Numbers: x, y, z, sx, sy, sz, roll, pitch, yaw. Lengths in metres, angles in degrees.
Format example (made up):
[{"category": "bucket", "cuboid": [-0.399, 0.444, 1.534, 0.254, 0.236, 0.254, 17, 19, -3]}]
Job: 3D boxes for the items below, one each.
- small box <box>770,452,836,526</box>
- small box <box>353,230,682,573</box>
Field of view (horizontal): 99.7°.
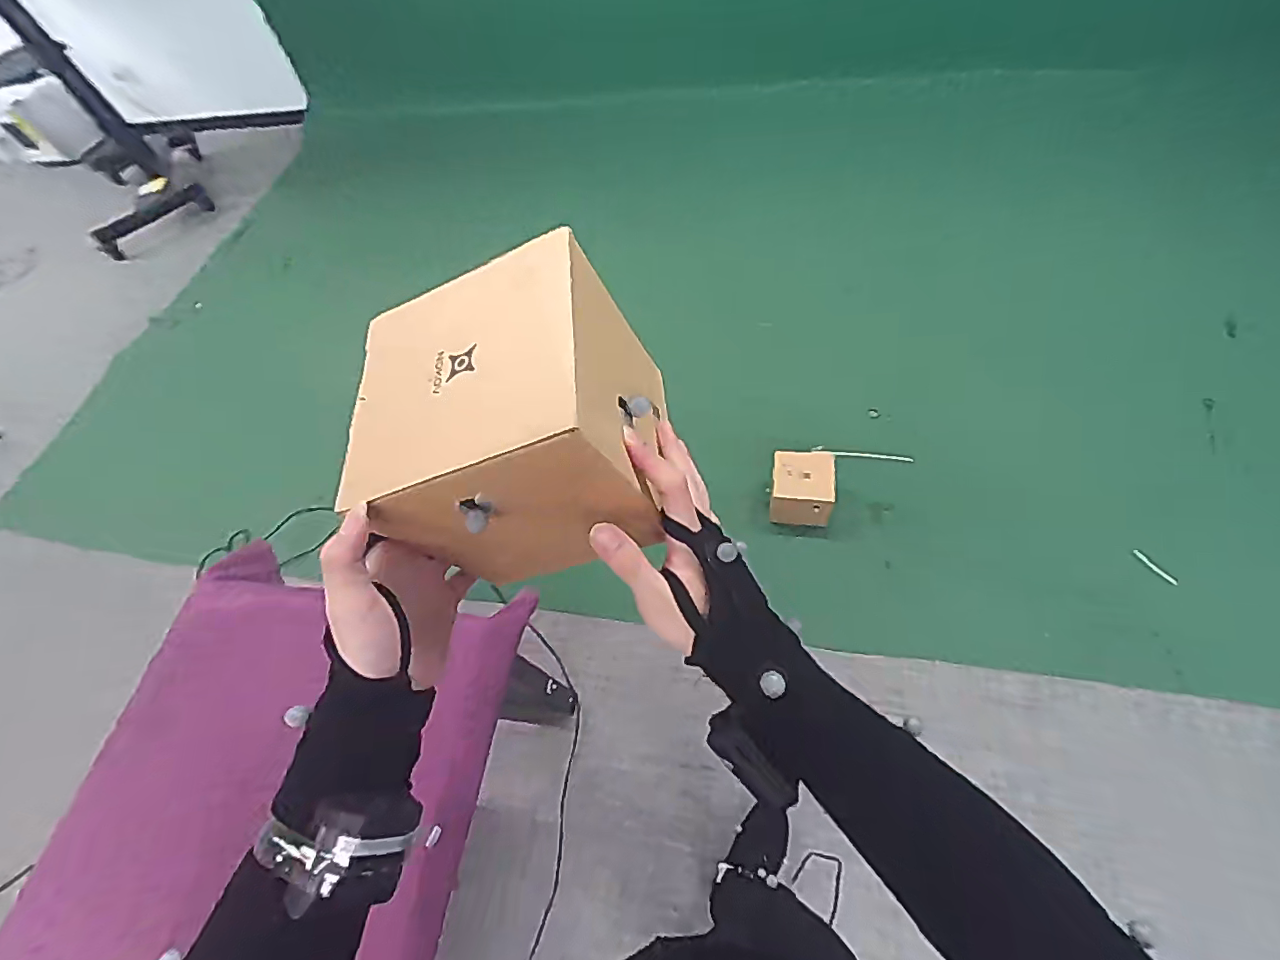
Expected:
[{"category": "small box", "cuboid": [0.500, 0.033, 1.670, 0.179, 0.176, 0.168, 4, 60, 12]}, {"category": "small box", "cuboid": [-0.076, -0.043, 0.416, 0.179, 0.176, 0.168, -17, 57, 19]}]
